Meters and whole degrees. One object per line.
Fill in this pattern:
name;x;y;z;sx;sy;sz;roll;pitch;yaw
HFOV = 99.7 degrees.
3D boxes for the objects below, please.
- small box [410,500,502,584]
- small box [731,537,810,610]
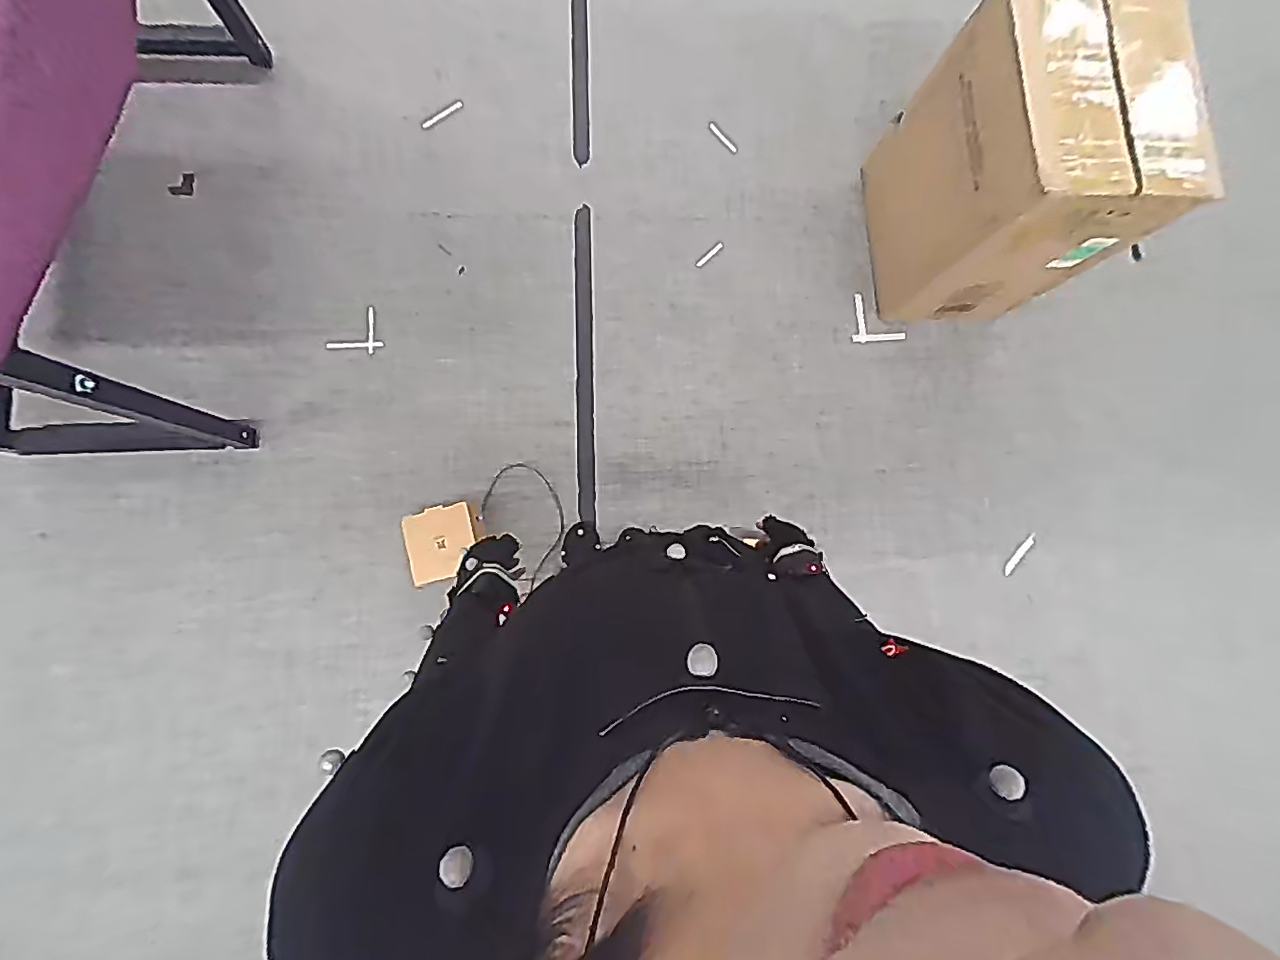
small box;-0.474;0.162;1.413;0.168;0.176;0.179;-15;85;-3
small box;0.350;0.250;1.475;0.168;0.176;0.179;4;83;-4
